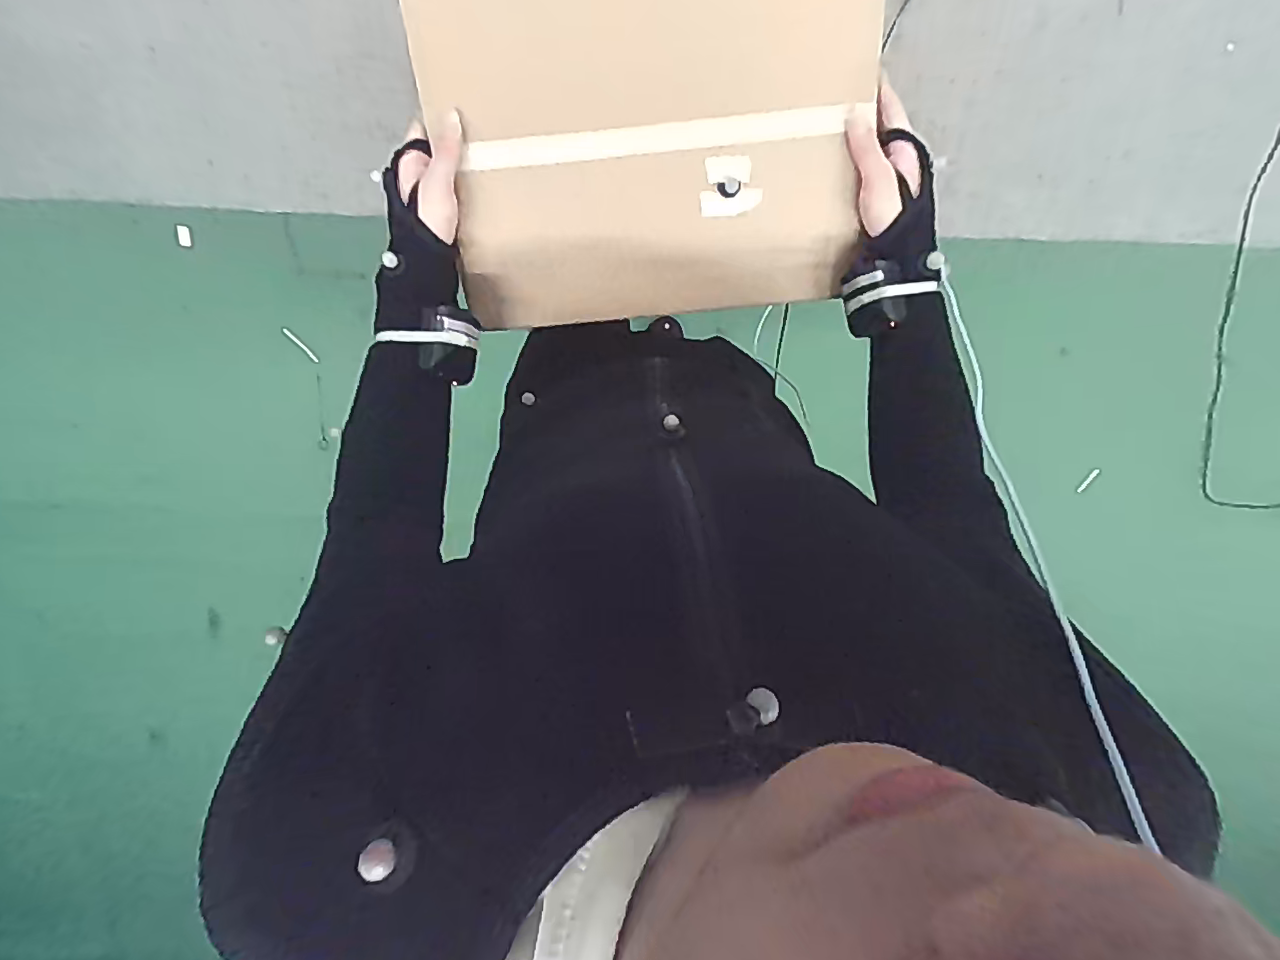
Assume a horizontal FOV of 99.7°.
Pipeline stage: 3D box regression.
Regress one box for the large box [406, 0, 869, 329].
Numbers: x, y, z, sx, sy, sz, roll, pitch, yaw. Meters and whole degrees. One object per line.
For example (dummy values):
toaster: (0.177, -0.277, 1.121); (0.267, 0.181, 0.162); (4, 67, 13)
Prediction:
large box: (0.002, -0.380, 0.640); (0.408, 0.320, 0.320); (-6, 116, -1)
